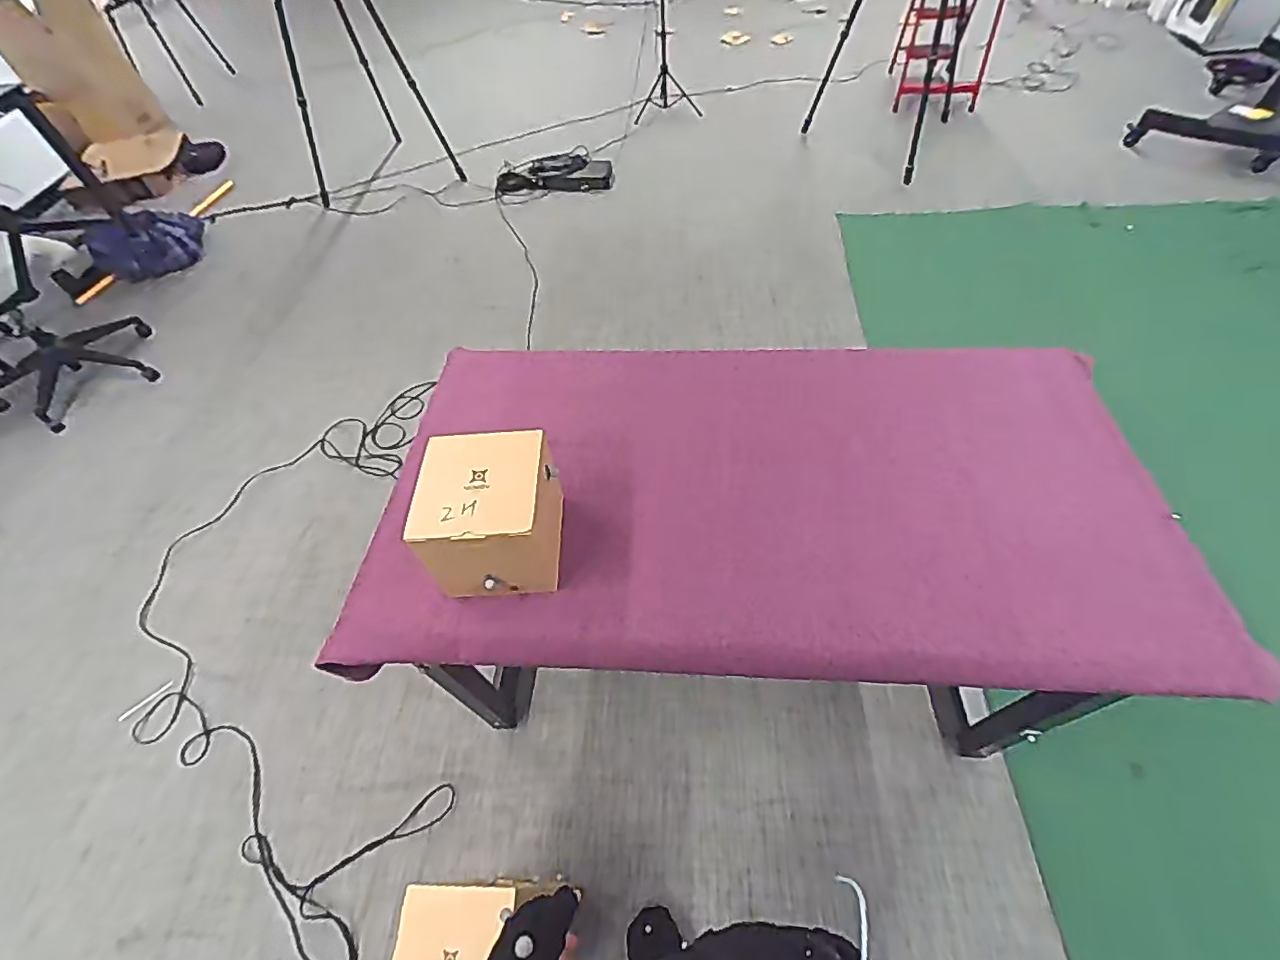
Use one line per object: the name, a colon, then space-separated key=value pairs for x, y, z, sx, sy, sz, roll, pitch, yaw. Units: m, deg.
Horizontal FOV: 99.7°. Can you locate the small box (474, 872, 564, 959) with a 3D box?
small box: x=-0.252 y=0.896 z=1.075 sx=0.168 sy=0.176 sz=0.179 roll=2 pitch=55 yaw=6

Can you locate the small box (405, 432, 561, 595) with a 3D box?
small box: x=-0.213 y=0.051 z=0.789 sx=0.168 sy=0.176 sz=0.179 roll=-3 pitch=53 yaw=2

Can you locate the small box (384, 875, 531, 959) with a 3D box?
small box: x=-0.268 y=0.704 z=0.809 sx=0.168 sy=0.176 sz=0.179 roll=0 pitch=56 yaw=4
